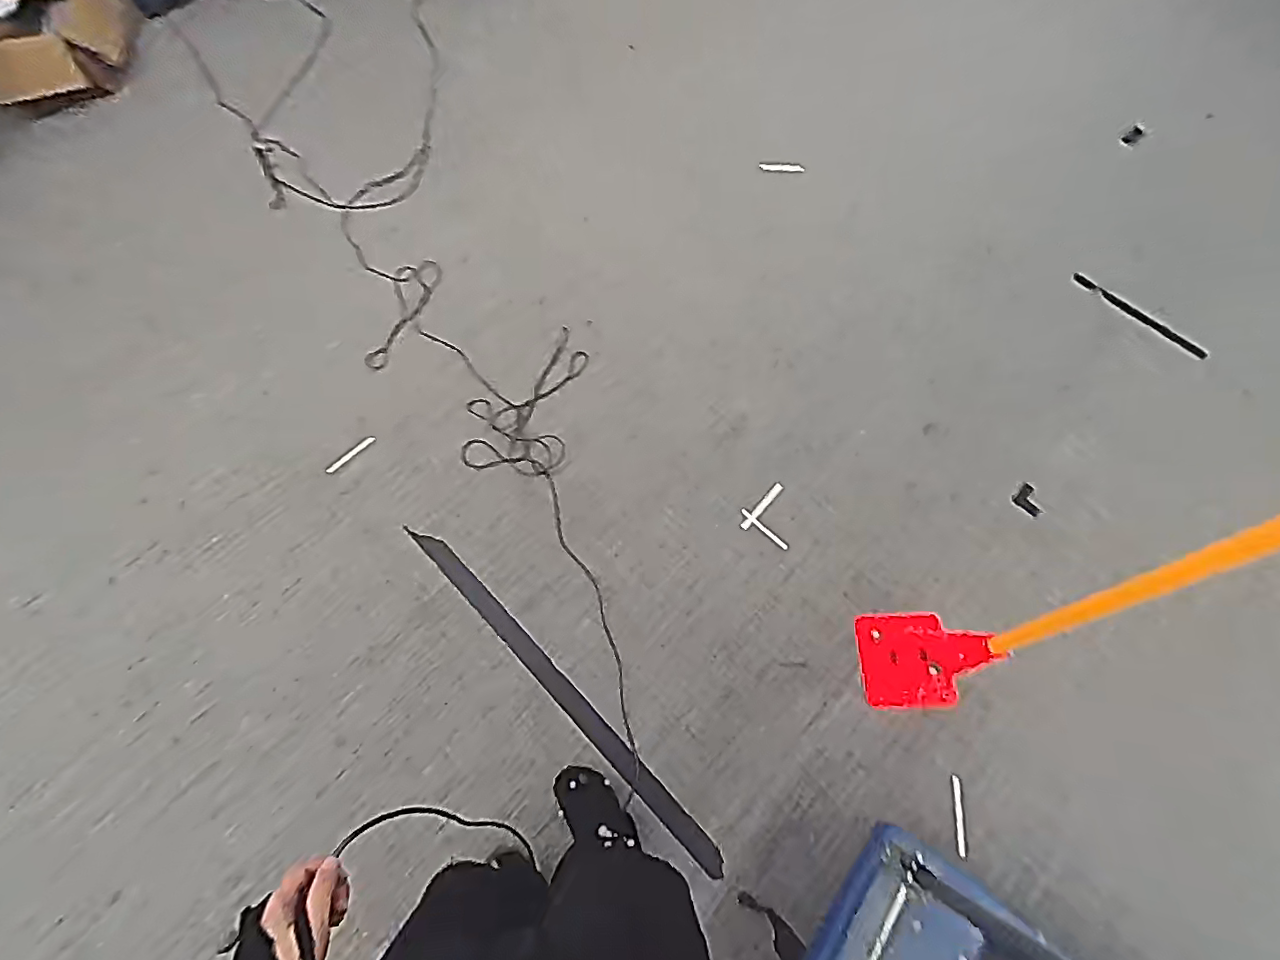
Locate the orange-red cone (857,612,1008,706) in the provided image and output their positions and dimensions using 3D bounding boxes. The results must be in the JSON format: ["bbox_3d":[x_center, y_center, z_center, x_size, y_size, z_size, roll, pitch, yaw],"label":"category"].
[{"bbox_3d":[0.587,0.335,1.043,0.198,0.360,0.199,-1,69,1],"label":"orange-red cone"}]
